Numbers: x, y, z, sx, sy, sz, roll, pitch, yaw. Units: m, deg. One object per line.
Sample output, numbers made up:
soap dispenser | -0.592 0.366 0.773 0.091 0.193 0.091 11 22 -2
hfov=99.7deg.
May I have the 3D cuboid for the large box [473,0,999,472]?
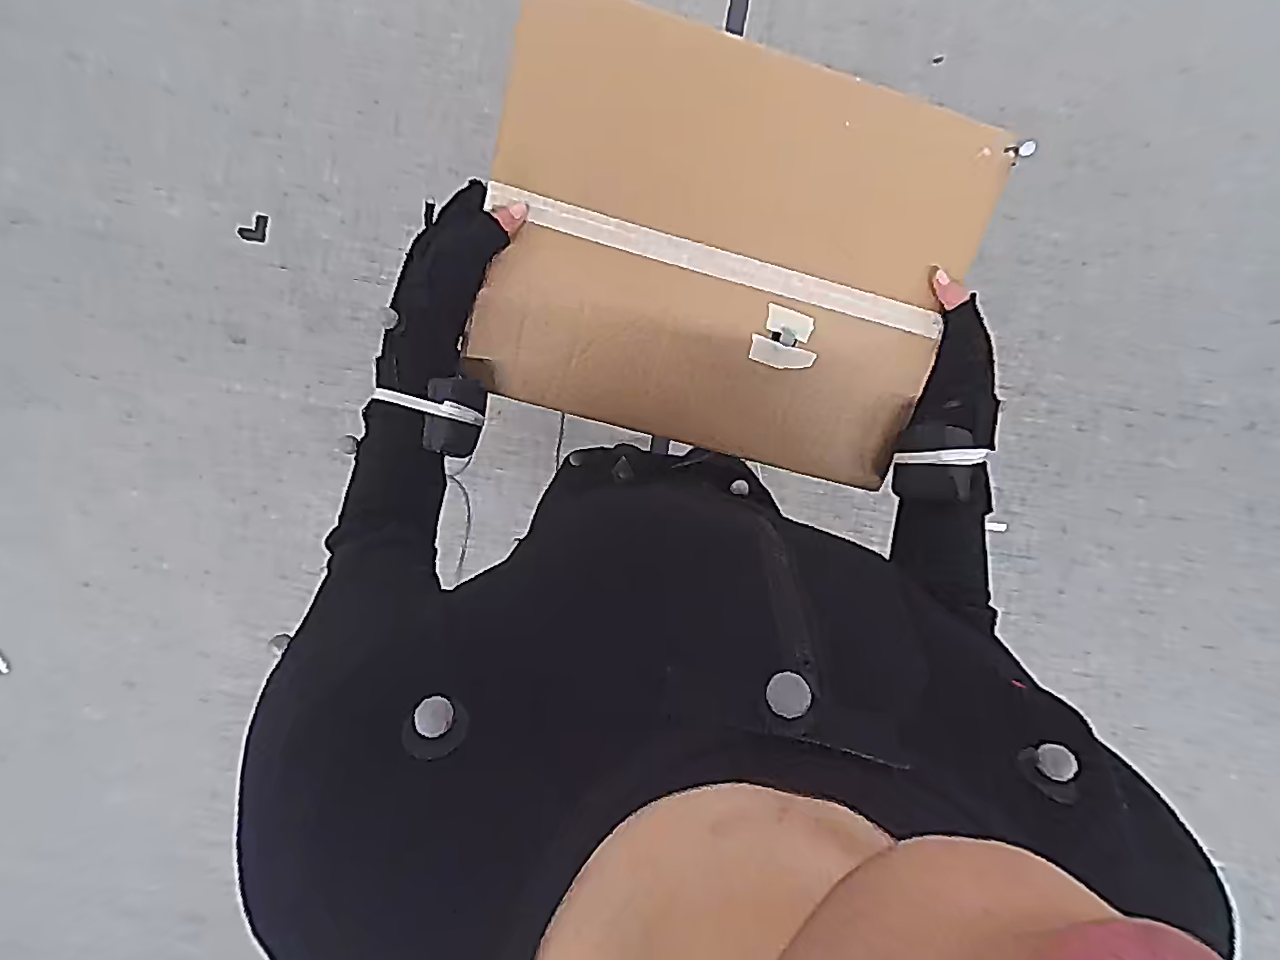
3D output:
large box | 0.065 -0.233 0.612 0.408 0.320 0.320 13 107 -7
